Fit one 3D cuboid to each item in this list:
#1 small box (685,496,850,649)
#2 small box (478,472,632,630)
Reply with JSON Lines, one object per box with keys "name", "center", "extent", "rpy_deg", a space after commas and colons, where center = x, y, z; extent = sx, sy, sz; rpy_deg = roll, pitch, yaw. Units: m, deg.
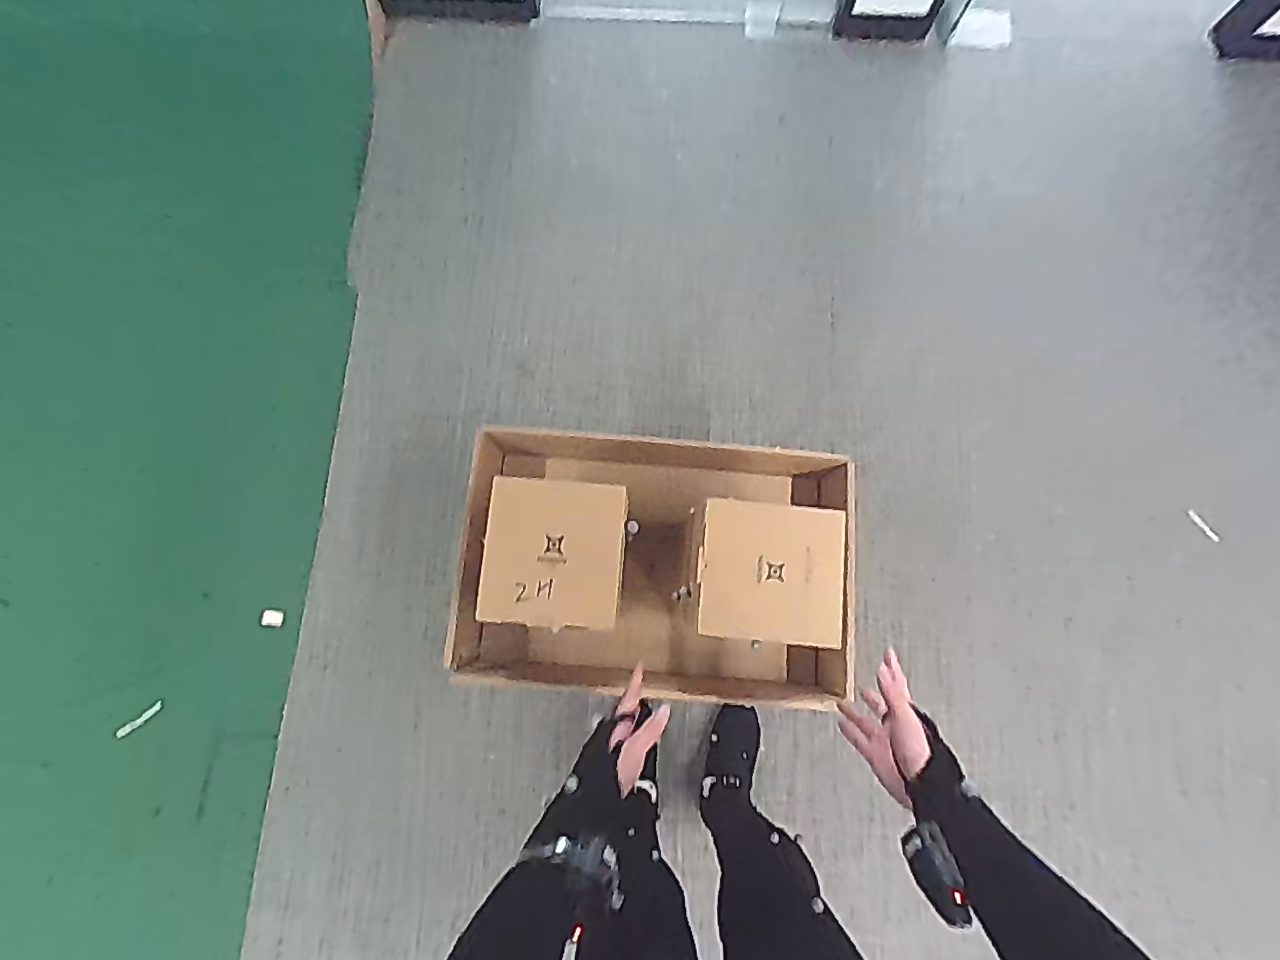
{"name": "small box", "center": [0.159, 0.123, 0.724], "extent": [0.179, 0.176, 0.168], "rpy_deg": [7, 80, -1]}
{"name": "small box", "center": [-0.102, 0.099, 0.720], "extent": [0.168, 0.176, 0.179], "rpy_deg": [5, 79, 0]}
